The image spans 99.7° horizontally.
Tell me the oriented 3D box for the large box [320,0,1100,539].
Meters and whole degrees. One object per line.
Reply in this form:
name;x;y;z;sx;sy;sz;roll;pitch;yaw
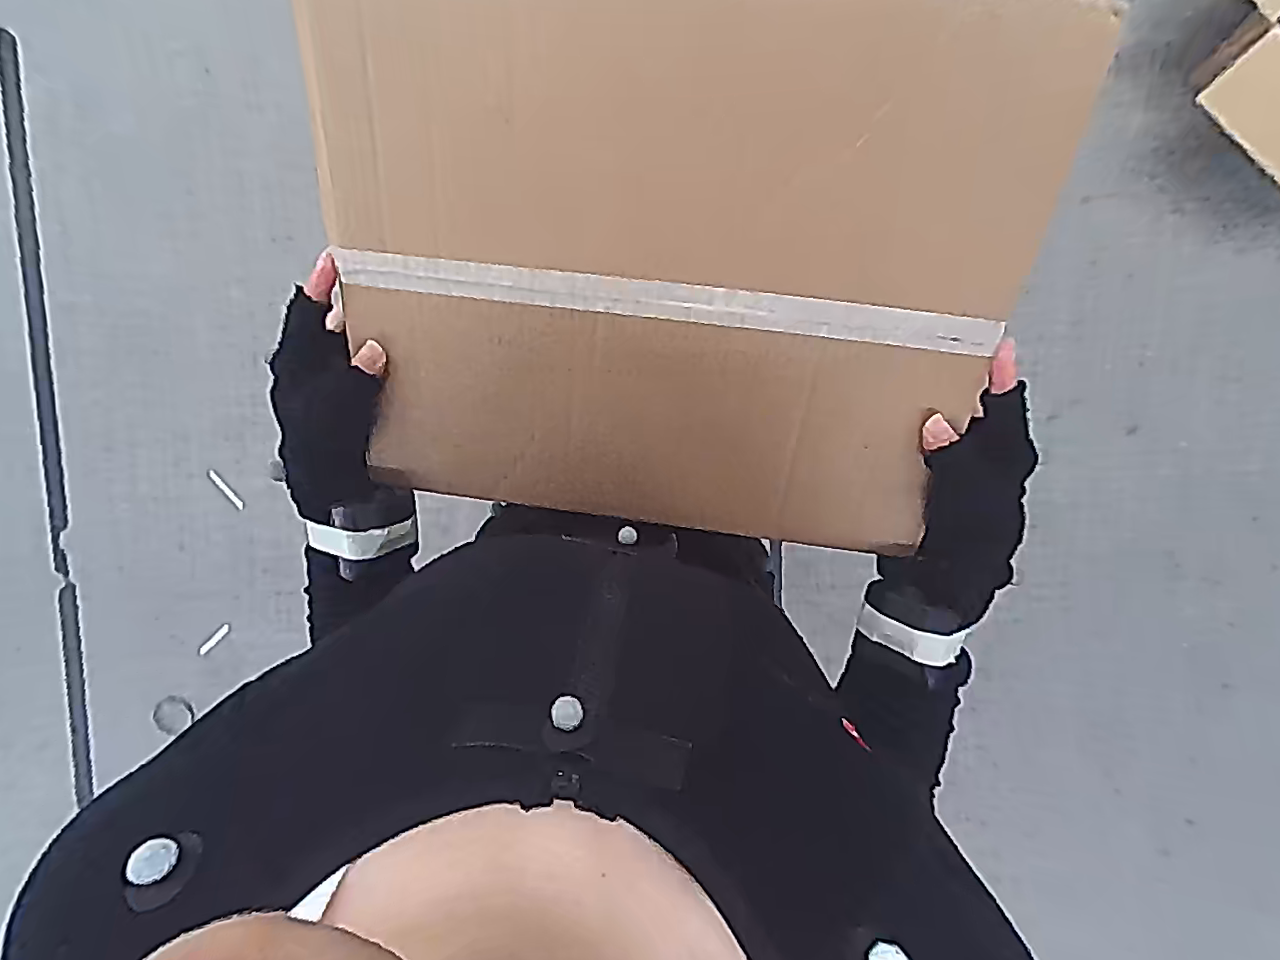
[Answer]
large box;0.027;-0.181;0.469;0.408;0.320;0.320;8;118;3
